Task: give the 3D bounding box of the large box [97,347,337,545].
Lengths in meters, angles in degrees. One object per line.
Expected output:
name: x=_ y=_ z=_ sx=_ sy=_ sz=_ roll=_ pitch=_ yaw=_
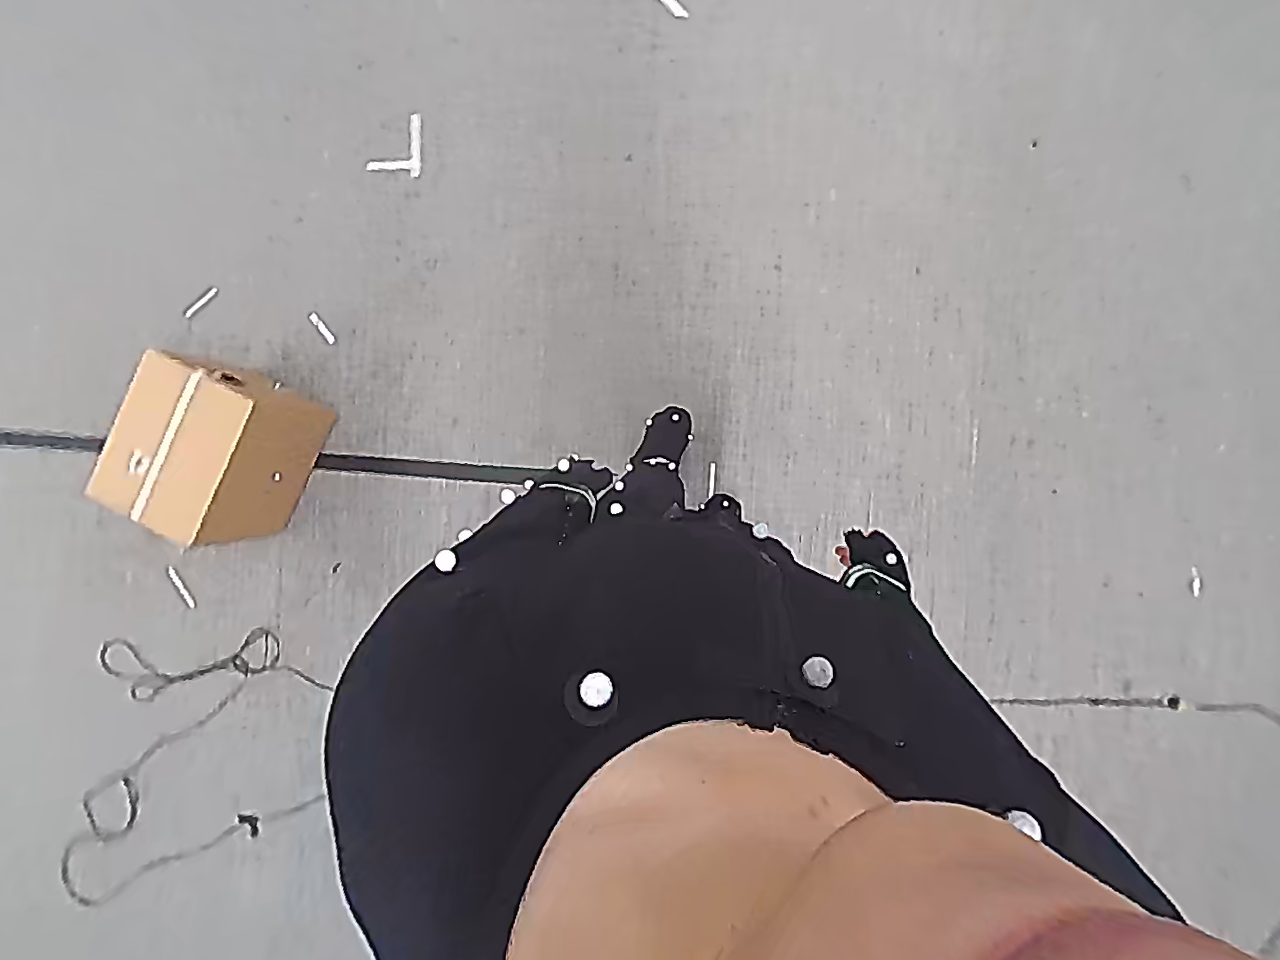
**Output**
large box: x=-1.116 y=-0.091 z=1.464 sx=0.320 sy=0.320 sz=0.408 roll=27 pitch=95 yaw=4
